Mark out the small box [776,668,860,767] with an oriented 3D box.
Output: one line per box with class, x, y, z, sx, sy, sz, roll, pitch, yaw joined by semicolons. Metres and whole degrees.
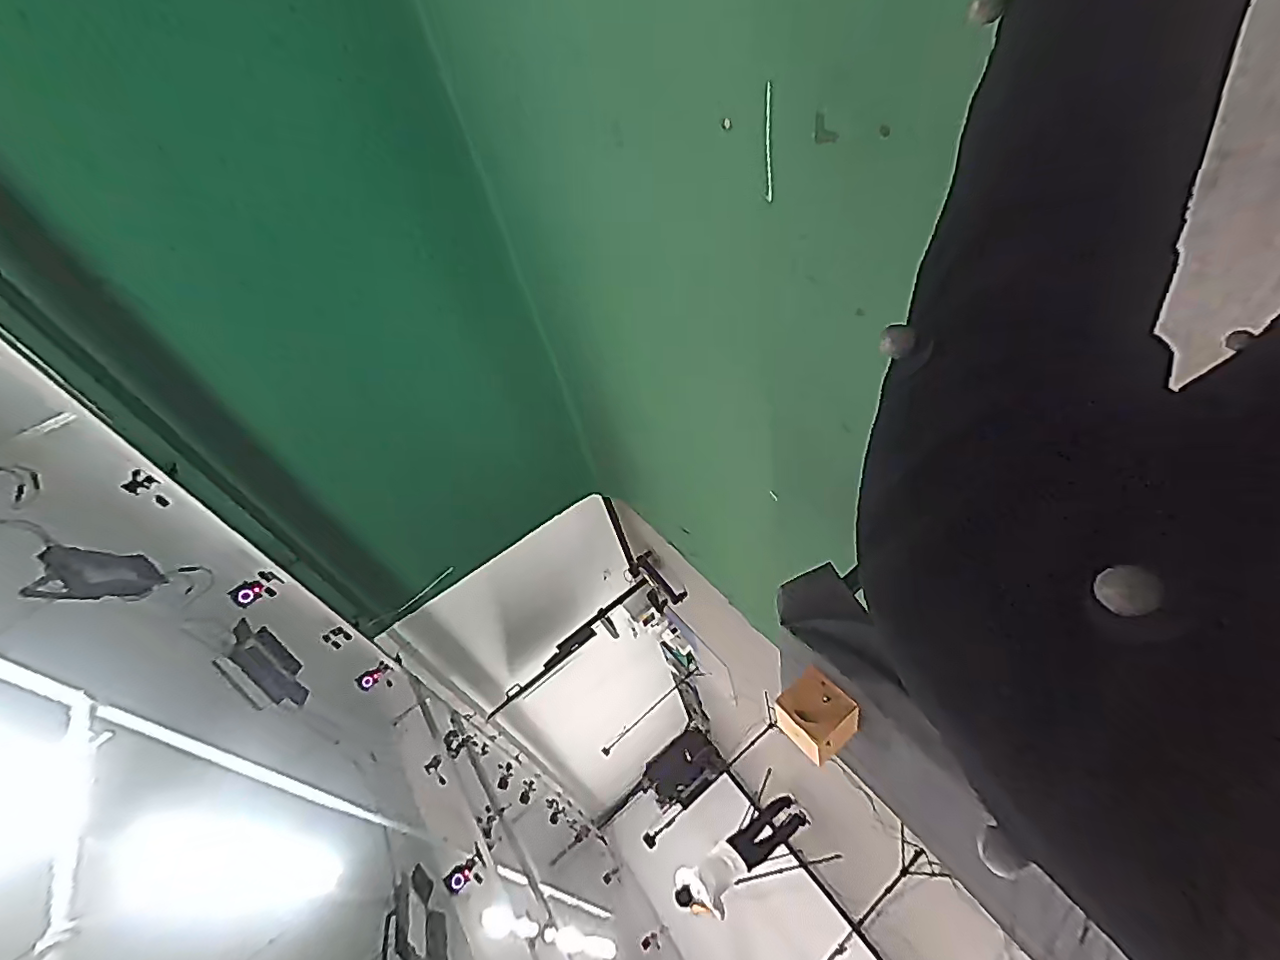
small box;0.524;0.693;1.589;0.168;0.176;0.179;38;156;44
